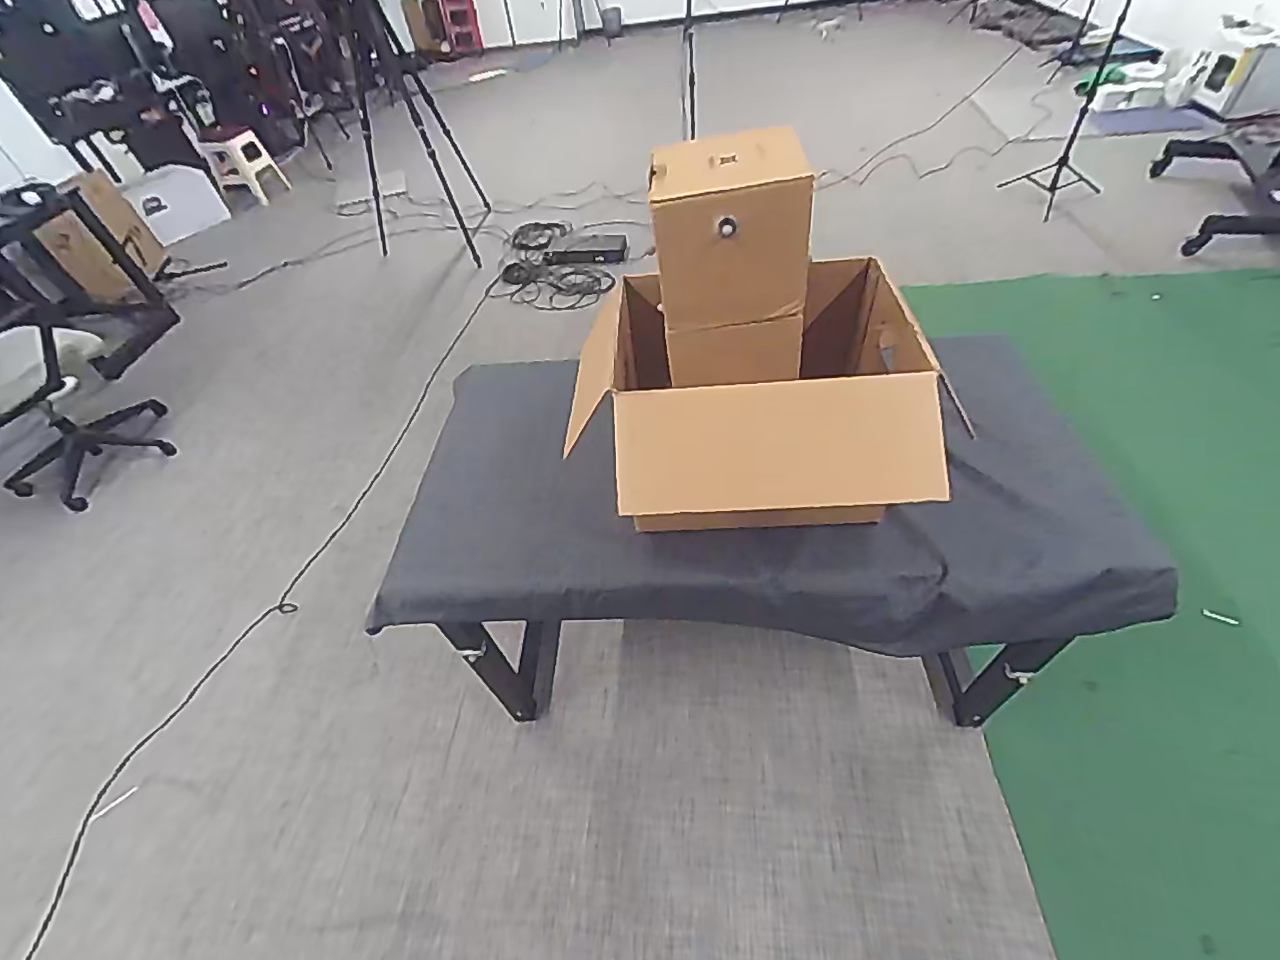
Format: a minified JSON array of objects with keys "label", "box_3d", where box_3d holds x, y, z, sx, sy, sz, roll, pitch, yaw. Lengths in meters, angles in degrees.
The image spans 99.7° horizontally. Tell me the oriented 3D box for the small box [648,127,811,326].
[{"label":"small box","box_3d":[0.108,-0.313,0.683,0.179,0.176,0.168,-5,50,7]}]
